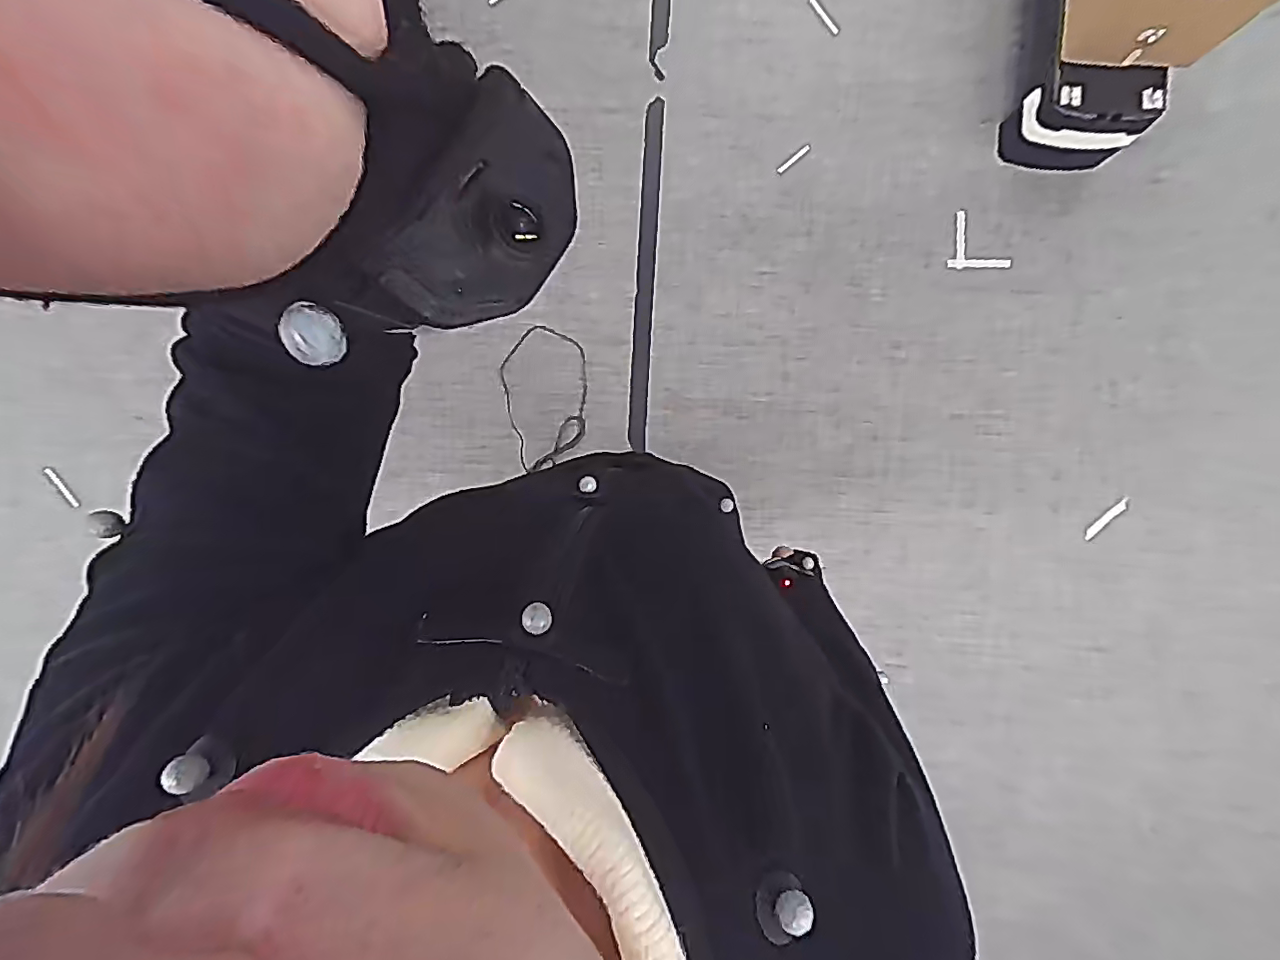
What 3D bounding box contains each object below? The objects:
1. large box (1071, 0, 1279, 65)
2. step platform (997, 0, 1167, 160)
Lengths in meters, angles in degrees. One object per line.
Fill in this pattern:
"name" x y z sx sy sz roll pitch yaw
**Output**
"large box" 1.169 -1.174 1.125 0.320 0.320 0.408 4 90 0
"step platform" 1.148 -1.207 1.363 0.286 0.204 0.684 9 90 1
